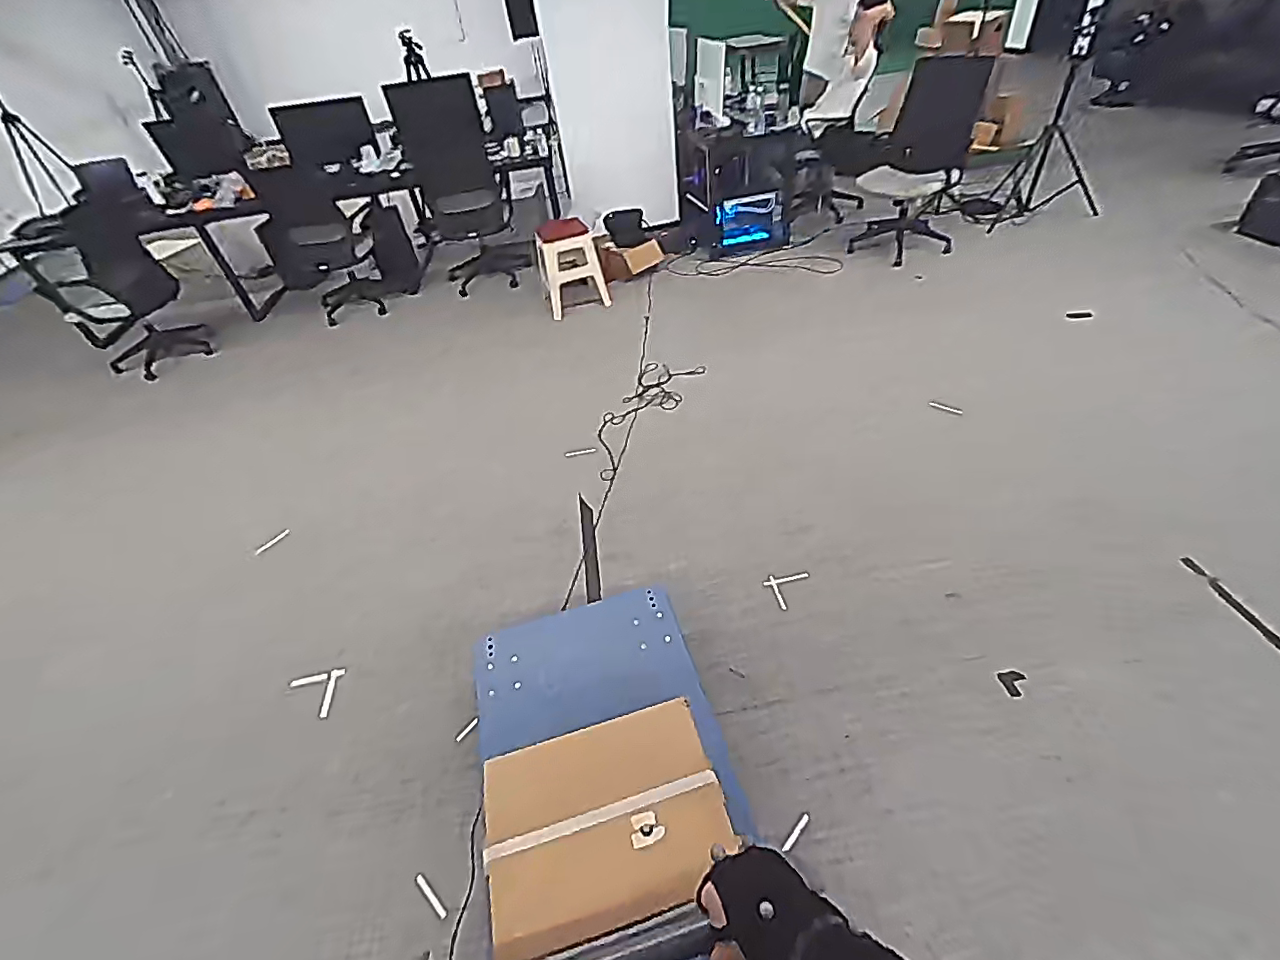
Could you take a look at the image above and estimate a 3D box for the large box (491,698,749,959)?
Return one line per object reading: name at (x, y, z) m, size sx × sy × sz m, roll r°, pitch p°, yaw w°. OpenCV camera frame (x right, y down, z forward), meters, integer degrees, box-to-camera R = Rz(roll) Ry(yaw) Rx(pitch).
large box at (-0.039, 0.695, 1.045) m, size 0.408 × 0.320 × 0.320 m, roll -15°, pitch 43°, yaw -8°
